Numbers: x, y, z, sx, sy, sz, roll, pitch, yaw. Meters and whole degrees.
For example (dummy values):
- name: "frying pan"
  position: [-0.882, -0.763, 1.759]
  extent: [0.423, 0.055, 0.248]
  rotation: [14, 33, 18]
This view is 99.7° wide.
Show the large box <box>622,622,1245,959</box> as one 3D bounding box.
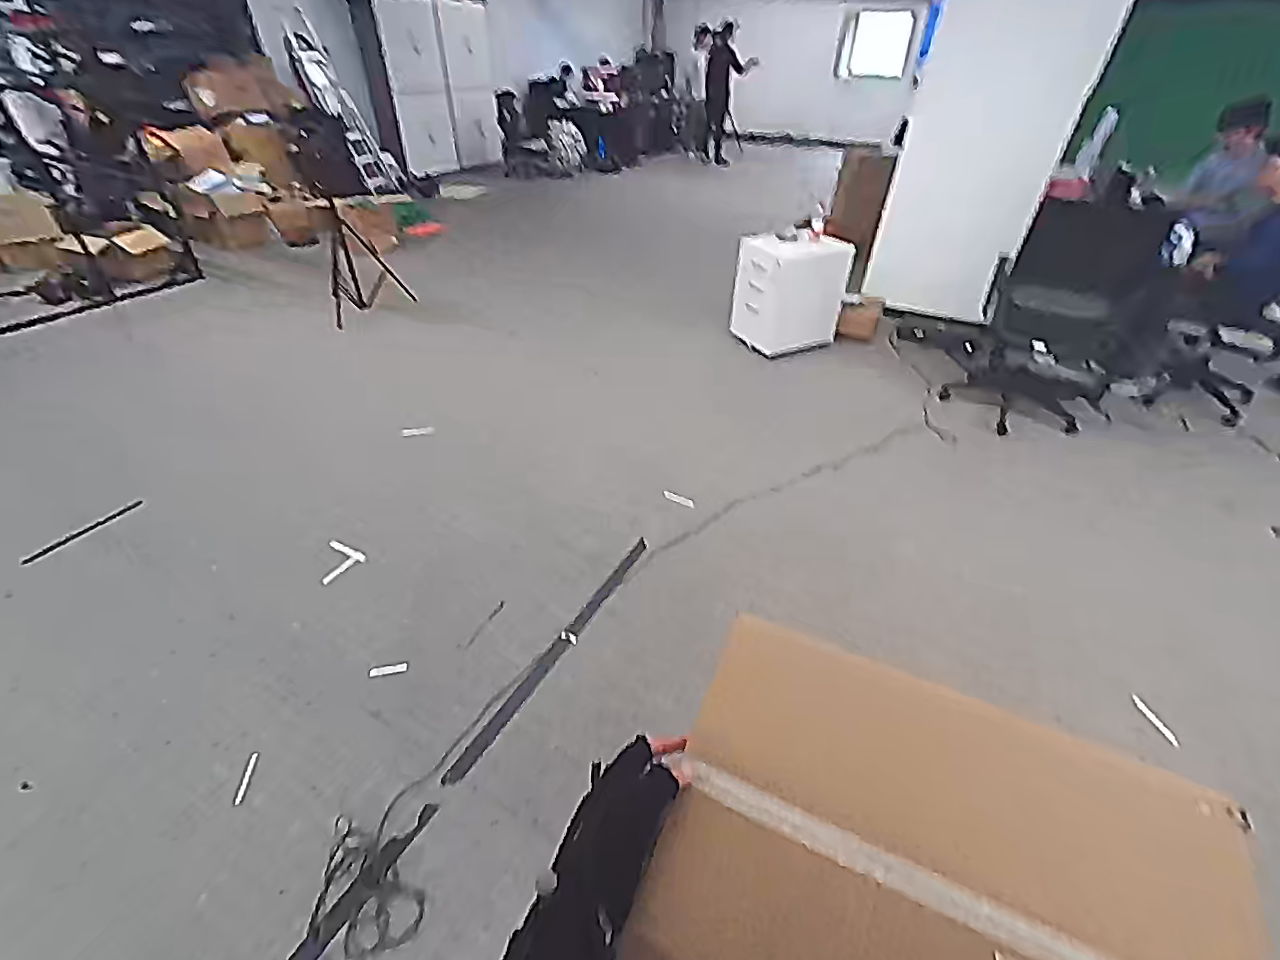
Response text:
- name: "large box"
  position: [0.236, 0.403, 0.537]
  extent: [0.408, 0.320, 0.320]
  rotation: [18, 56, 19]
